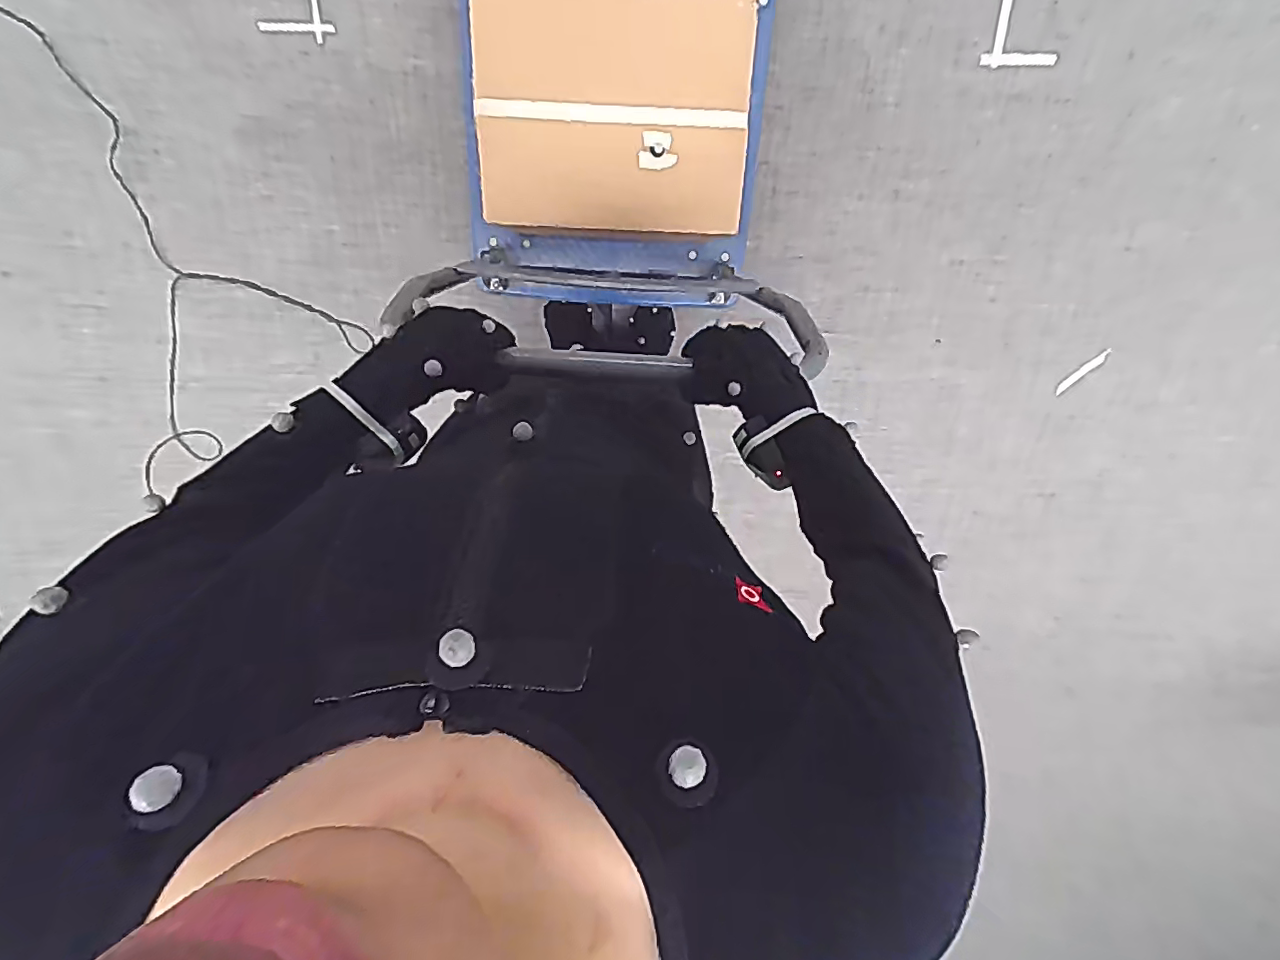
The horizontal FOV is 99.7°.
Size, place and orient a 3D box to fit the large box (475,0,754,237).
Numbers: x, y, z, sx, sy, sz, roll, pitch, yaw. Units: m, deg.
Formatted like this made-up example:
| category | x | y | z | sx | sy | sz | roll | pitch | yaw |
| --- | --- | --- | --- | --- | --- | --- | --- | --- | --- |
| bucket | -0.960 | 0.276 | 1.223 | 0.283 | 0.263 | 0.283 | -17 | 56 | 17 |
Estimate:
| category | x | y | z | sx | sy | sz | roll | pitch | yaw |
| --- | --- | --- | --- | --- | --- | --- | --- | --- | --- |
| large box | -0.047 | -0.609 | 0.955 | 0.408 | 0.320 | 0.320 | 0 | 112 | -4 |
